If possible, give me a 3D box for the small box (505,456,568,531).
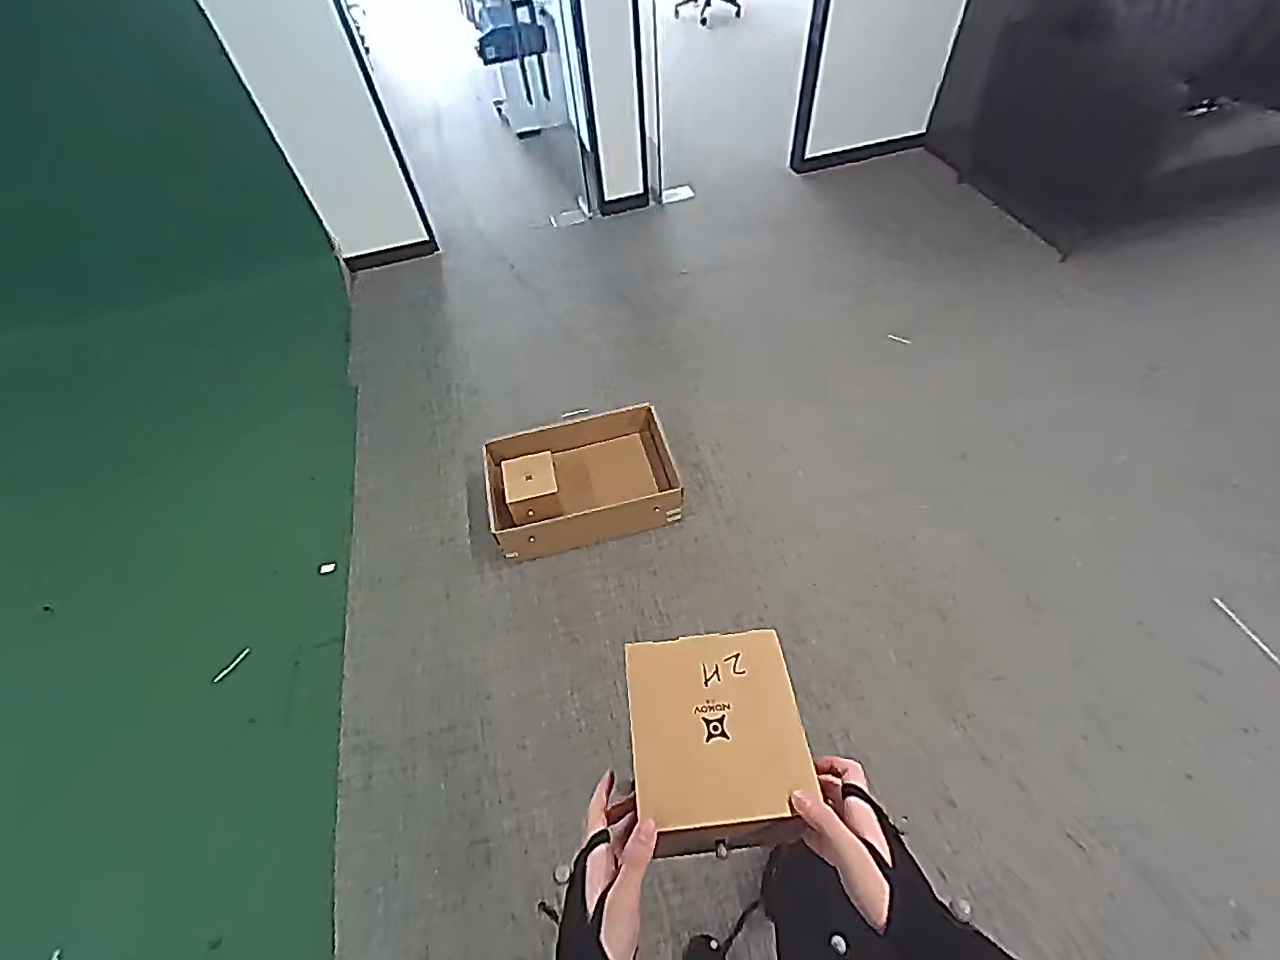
[{"bbox_3d":[-0.343,0.052,1.802,0.168,0.176,0.179,-13,53,-5],"label":"small box"}]

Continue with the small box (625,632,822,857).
[{"bbox_3d":[0.074,0.285,0.576,0.168,0.176,0.179,-5,47,-2],"label":"small box"}]
